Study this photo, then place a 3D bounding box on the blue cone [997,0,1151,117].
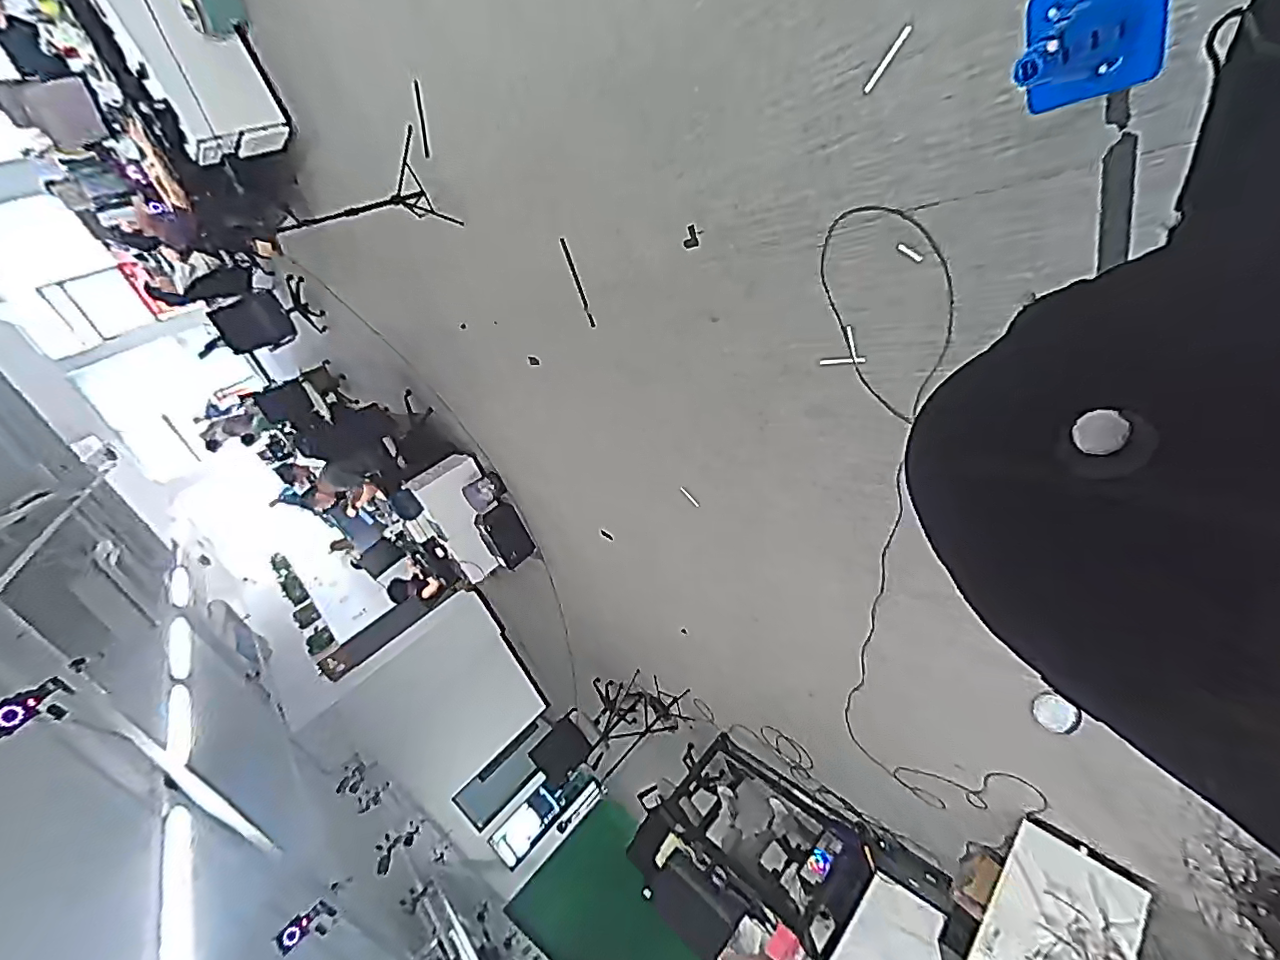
[{"bbox_3d":[0.677,-0.689,0.892,0.193,0.380,0.192,11,132,49],"label":"blue cone"}]
